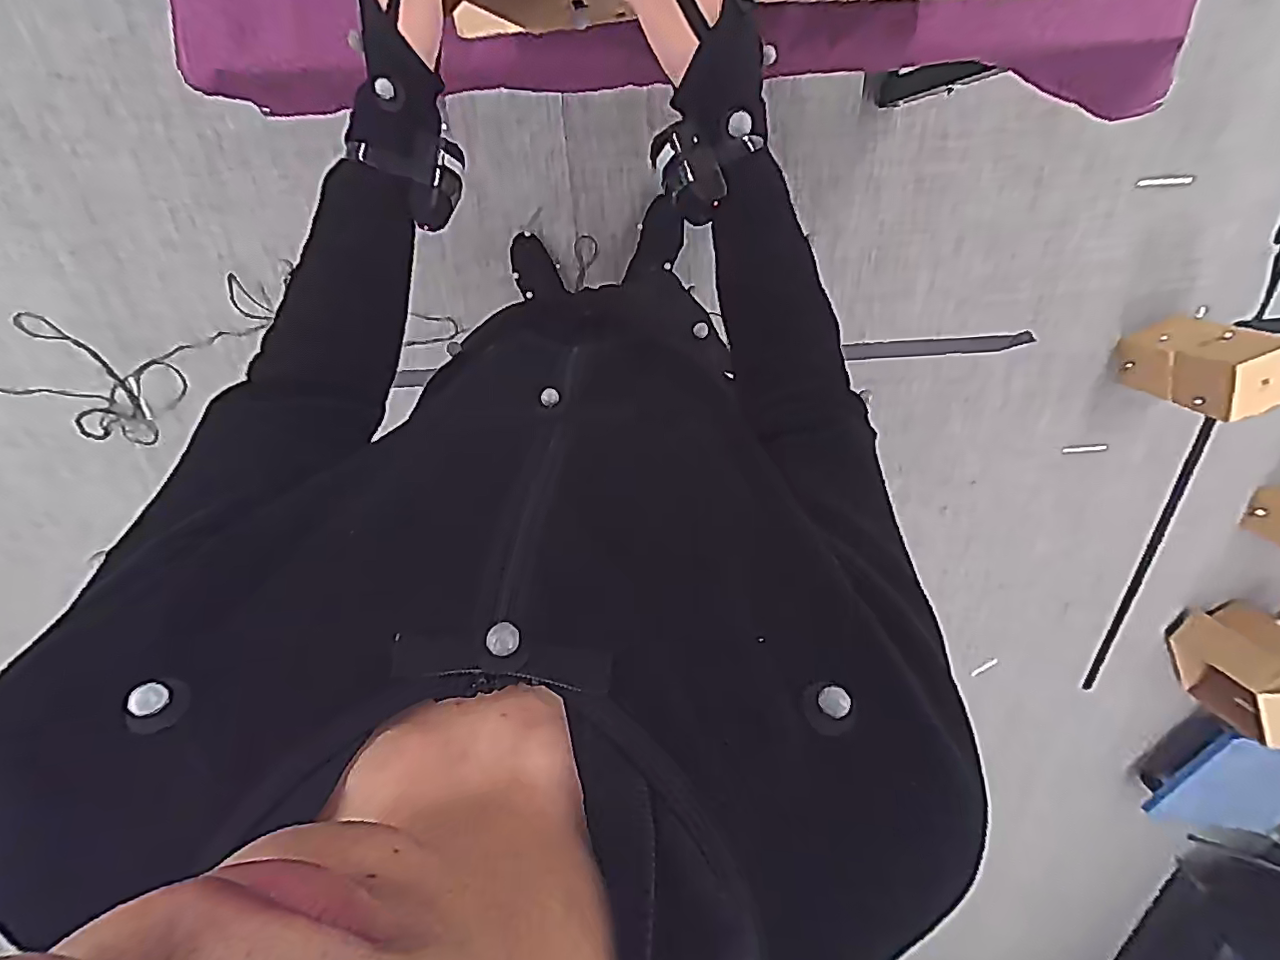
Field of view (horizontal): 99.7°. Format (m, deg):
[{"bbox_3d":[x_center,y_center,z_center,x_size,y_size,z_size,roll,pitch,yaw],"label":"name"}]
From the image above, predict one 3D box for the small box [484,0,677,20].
[{"bbox_3d":[-0.058,-0.497,0.432,0.168,0.176,0.179,5,121,15],"label":"small box"}]
